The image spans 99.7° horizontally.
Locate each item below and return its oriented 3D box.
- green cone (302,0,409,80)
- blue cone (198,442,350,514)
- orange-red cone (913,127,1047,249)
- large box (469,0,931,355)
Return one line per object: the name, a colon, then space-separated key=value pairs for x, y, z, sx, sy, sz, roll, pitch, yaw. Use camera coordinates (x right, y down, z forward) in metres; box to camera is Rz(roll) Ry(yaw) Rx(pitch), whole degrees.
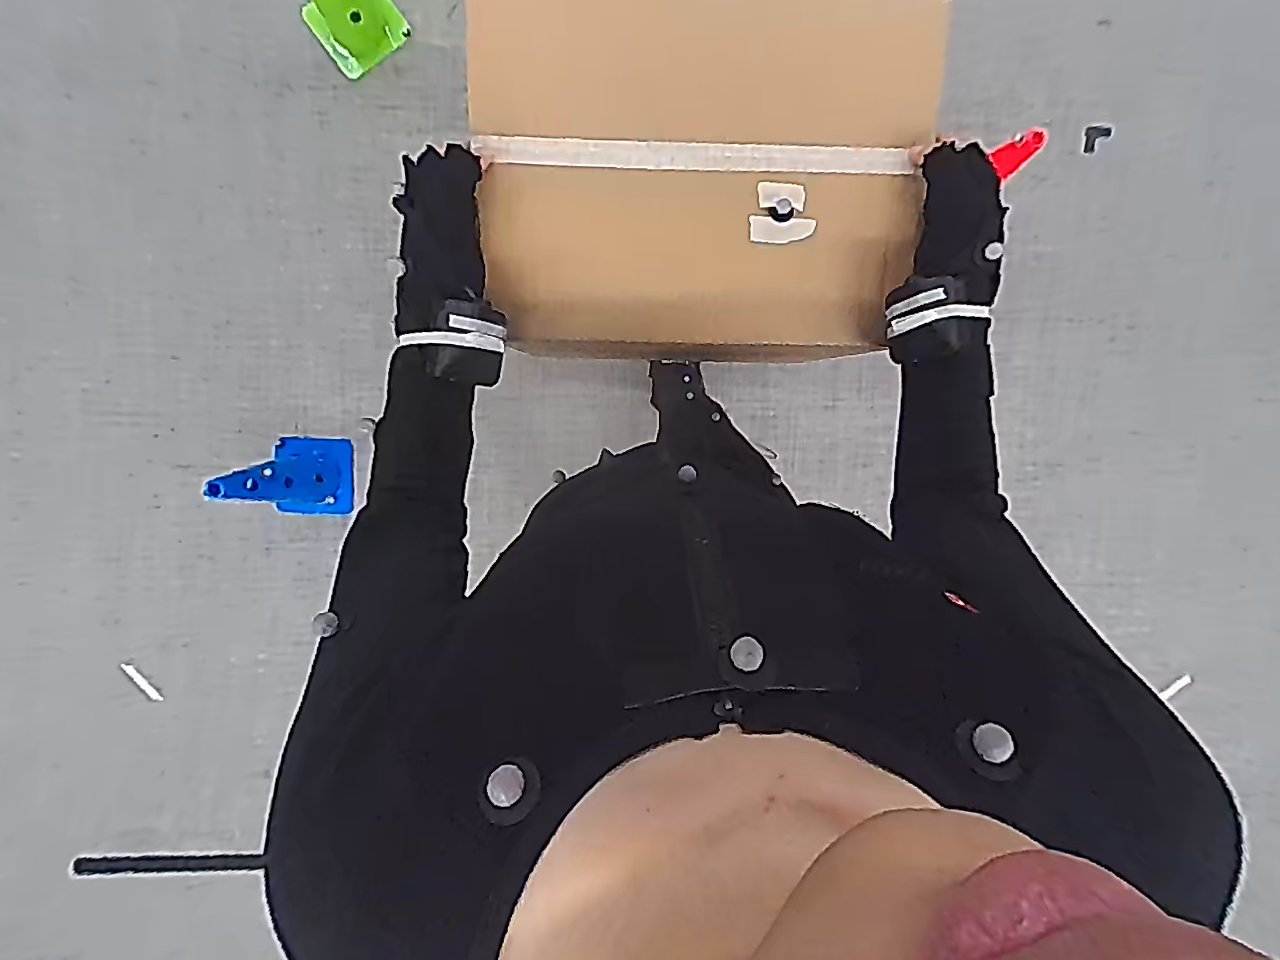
green cone: x=-0.695 y=-1.107 z=1.158 sx=0.202 sy=0.368 sz=0.200 roll=-37 pitch=94 yaw=2
blue cone: x=-0.857 y=0.008 z=1.260 sx=0.192 sy=0.380 sz=0.193 roll=4 pitch=94 yaw=-2
orange-red cone: x=0.786 y=-0.702 z=1.255 sx=0.198 sy=0.360 sz=0.199 roll=-2 pitch=93 yaw=-3
large box: x=0.046 y=-0.314 z=0.623 sx=0.408 sy=0.320 sz=0.320 roll=0 pitch=100 yaw=-3
